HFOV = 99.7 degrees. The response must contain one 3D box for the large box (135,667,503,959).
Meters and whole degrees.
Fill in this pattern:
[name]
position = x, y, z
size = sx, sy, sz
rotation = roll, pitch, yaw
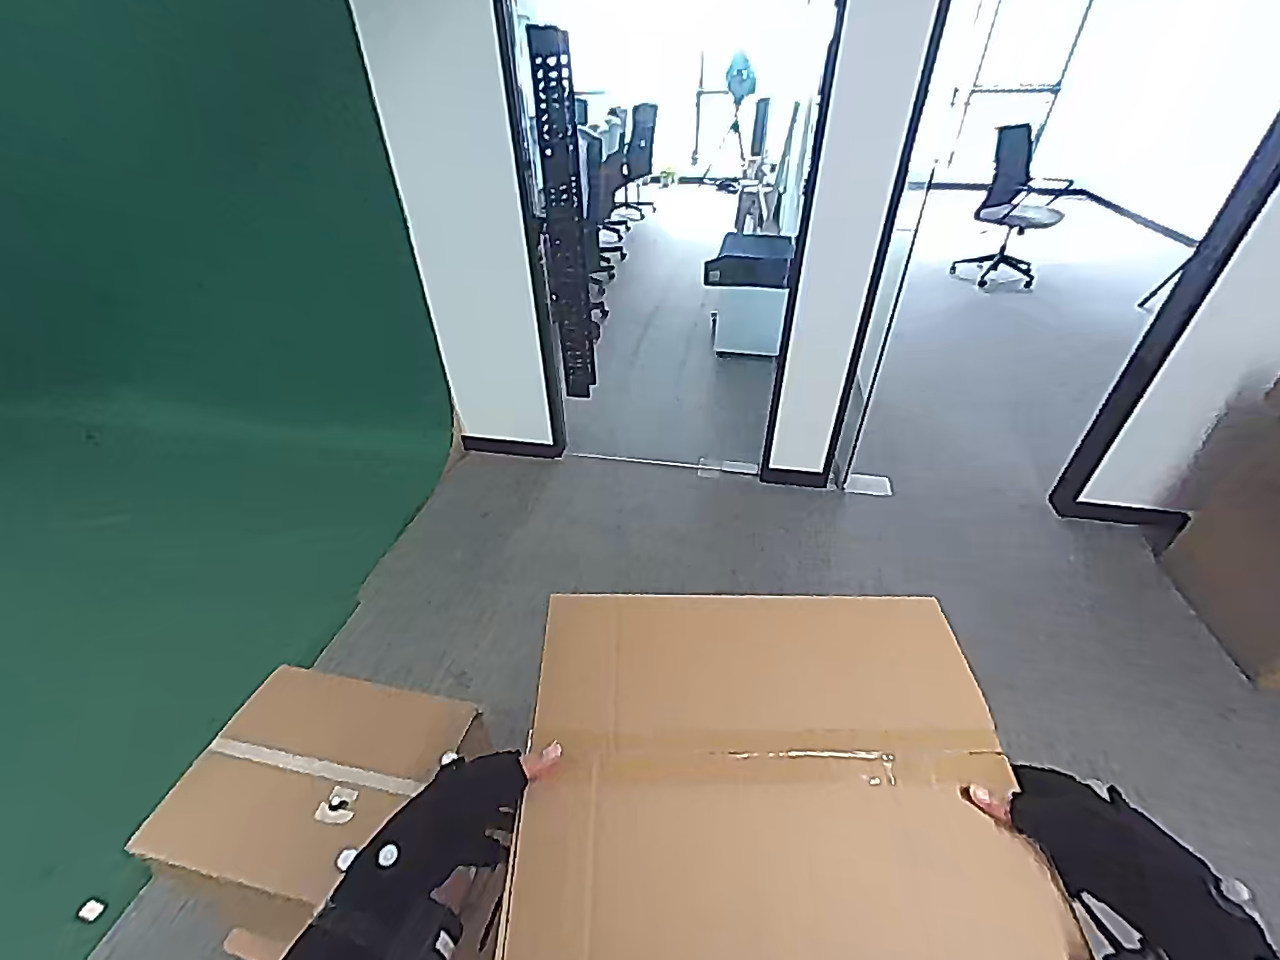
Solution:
[large box]
position = -0.499, 0.579, 0.937
size = 0.408, 0.320, 0.320
rotation = 8, 35, 10
